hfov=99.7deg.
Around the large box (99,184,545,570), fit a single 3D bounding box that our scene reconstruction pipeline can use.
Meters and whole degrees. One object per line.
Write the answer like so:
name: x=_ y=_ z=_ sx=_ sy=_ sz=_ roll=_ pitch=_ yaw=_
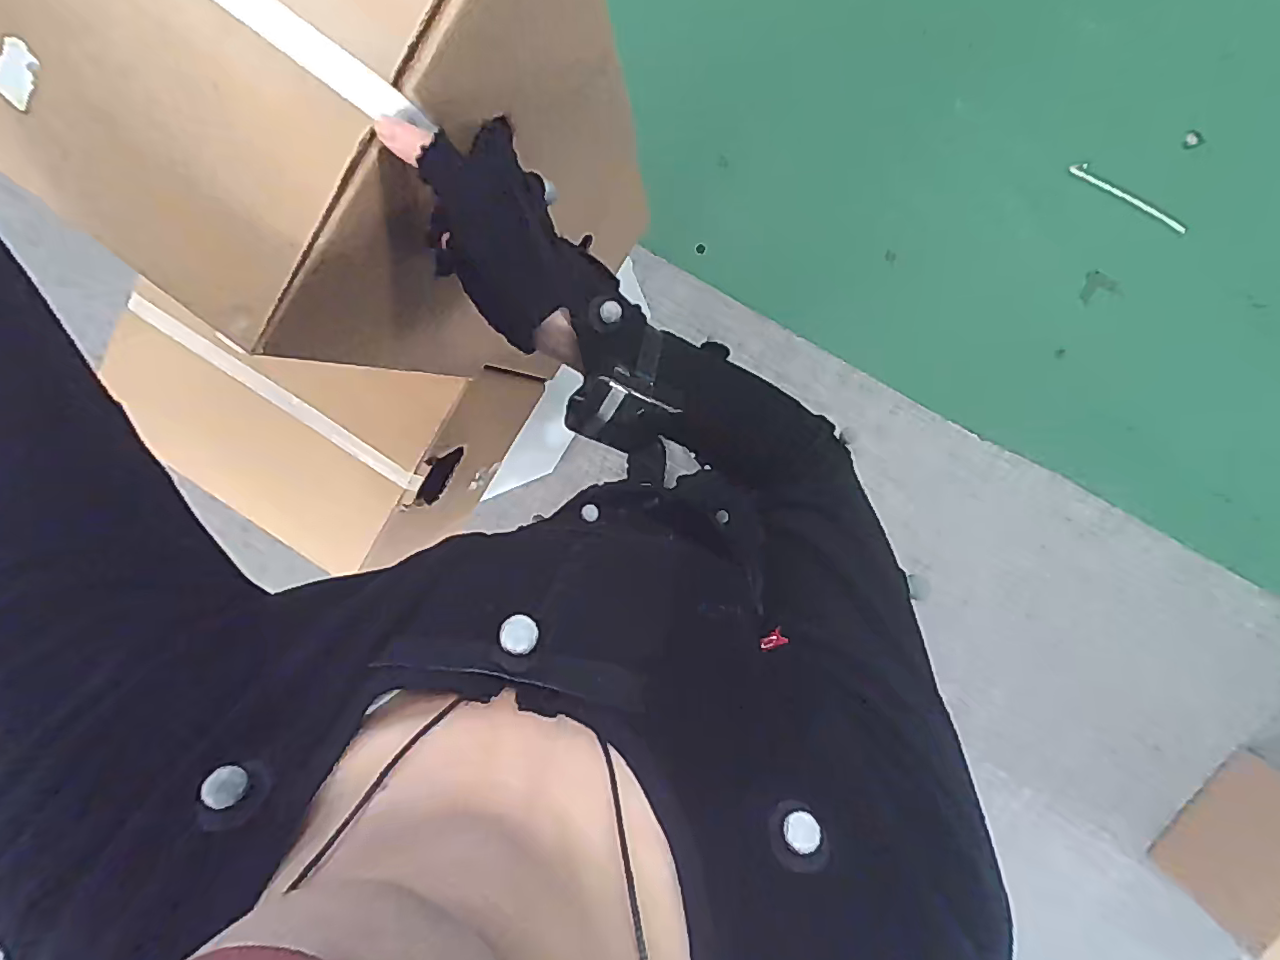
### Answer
large box: x=-0.415 y=-0.134 z=0.791 sx=0.408 sy=0.320 sz=0.320 roll=33 pitch=99 yaw=2
